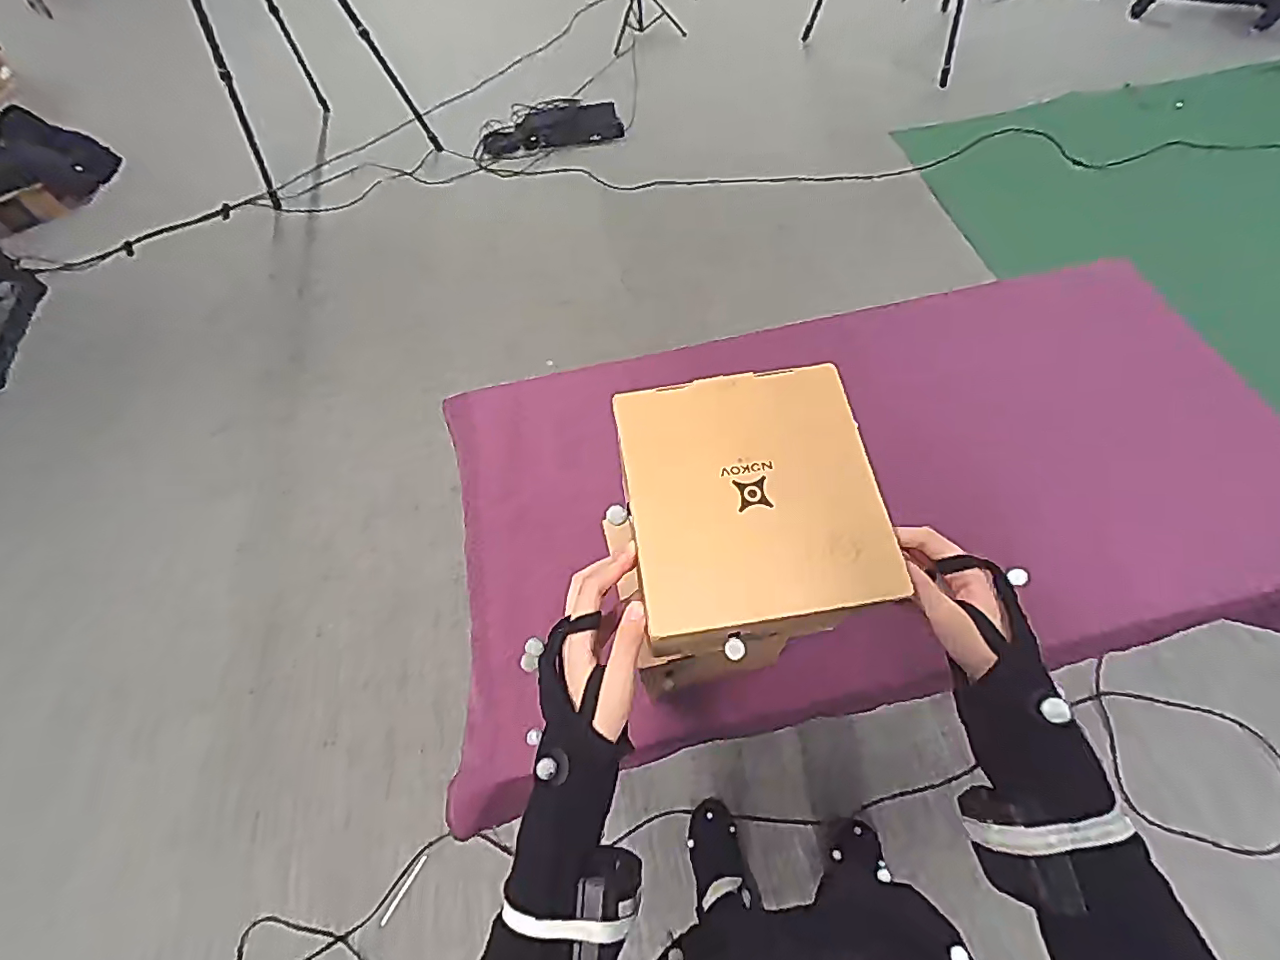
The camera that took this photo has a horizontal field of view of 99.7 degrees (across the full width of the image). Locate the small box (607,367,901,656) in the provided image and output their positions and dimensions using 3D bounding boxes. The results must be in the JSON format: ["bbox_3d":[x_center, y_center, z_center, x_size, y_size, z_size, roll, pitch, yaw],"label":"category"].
[{"bbox_3d":[0.071,0.039,0.430,0.168,0.176,0.179,-8,67,-1],"label":"small box"}]
